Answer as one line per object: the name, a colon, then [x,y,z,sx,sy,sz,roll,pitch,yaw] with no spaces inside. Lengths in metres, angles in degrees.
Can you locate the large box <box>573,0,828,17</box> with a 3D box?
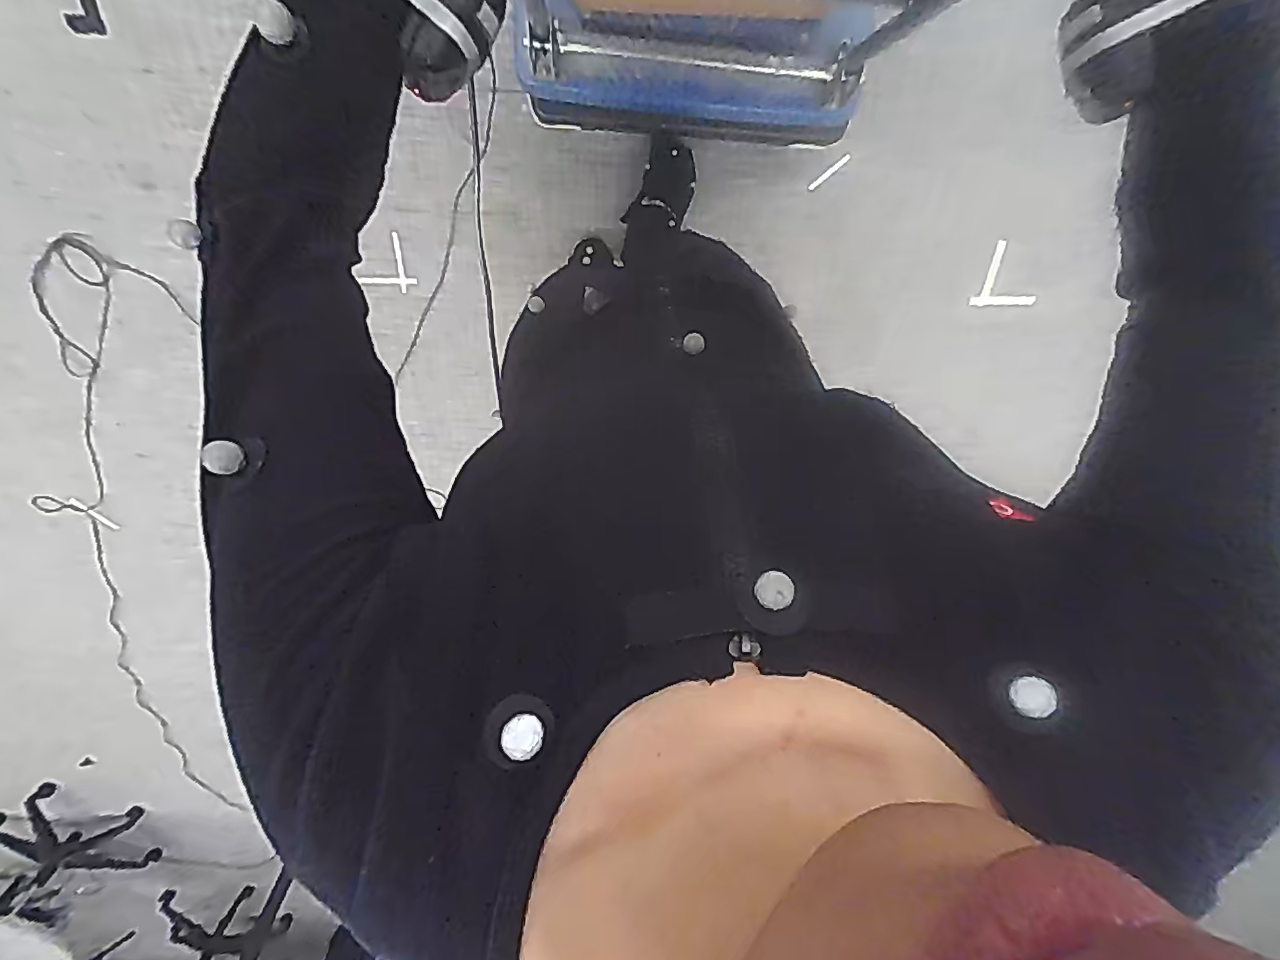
large box: [0.101,-0.837,0.679,0.408,0.320,0.320,-2,111,-4]
